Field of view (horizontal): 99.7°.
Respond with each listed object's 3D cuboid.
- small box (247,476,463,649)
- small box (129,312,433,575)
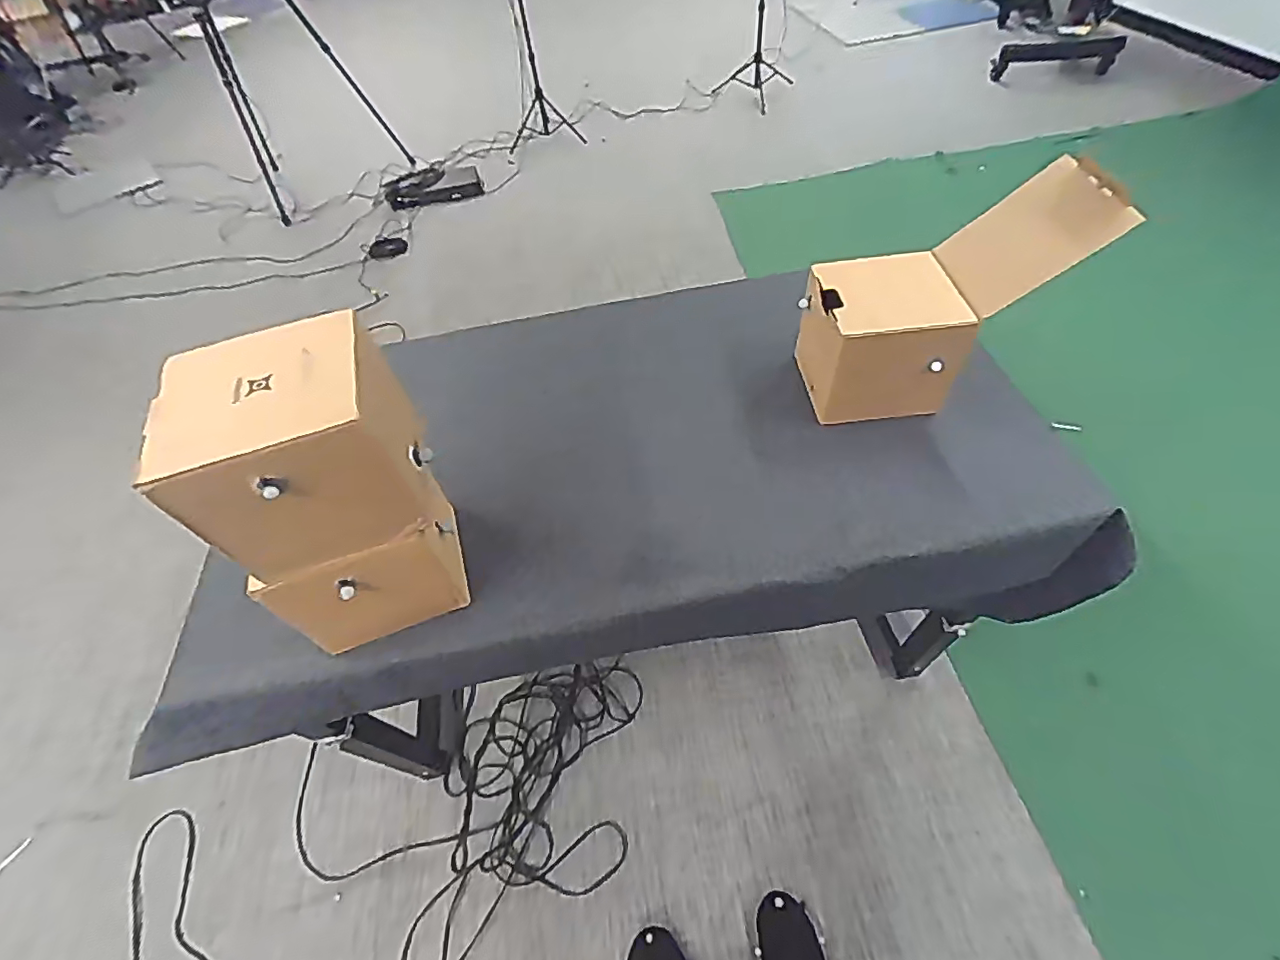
[{"bbox_3d":[-0.327,0.078,0.656,0.179,0.176,0.168,-19,52,-8],"label":"small box"},{"bbox_3d":[-0.327,-0.031,0.533,0.179,0.176,0.168,-18,54,-9],"label":"small box"}]
